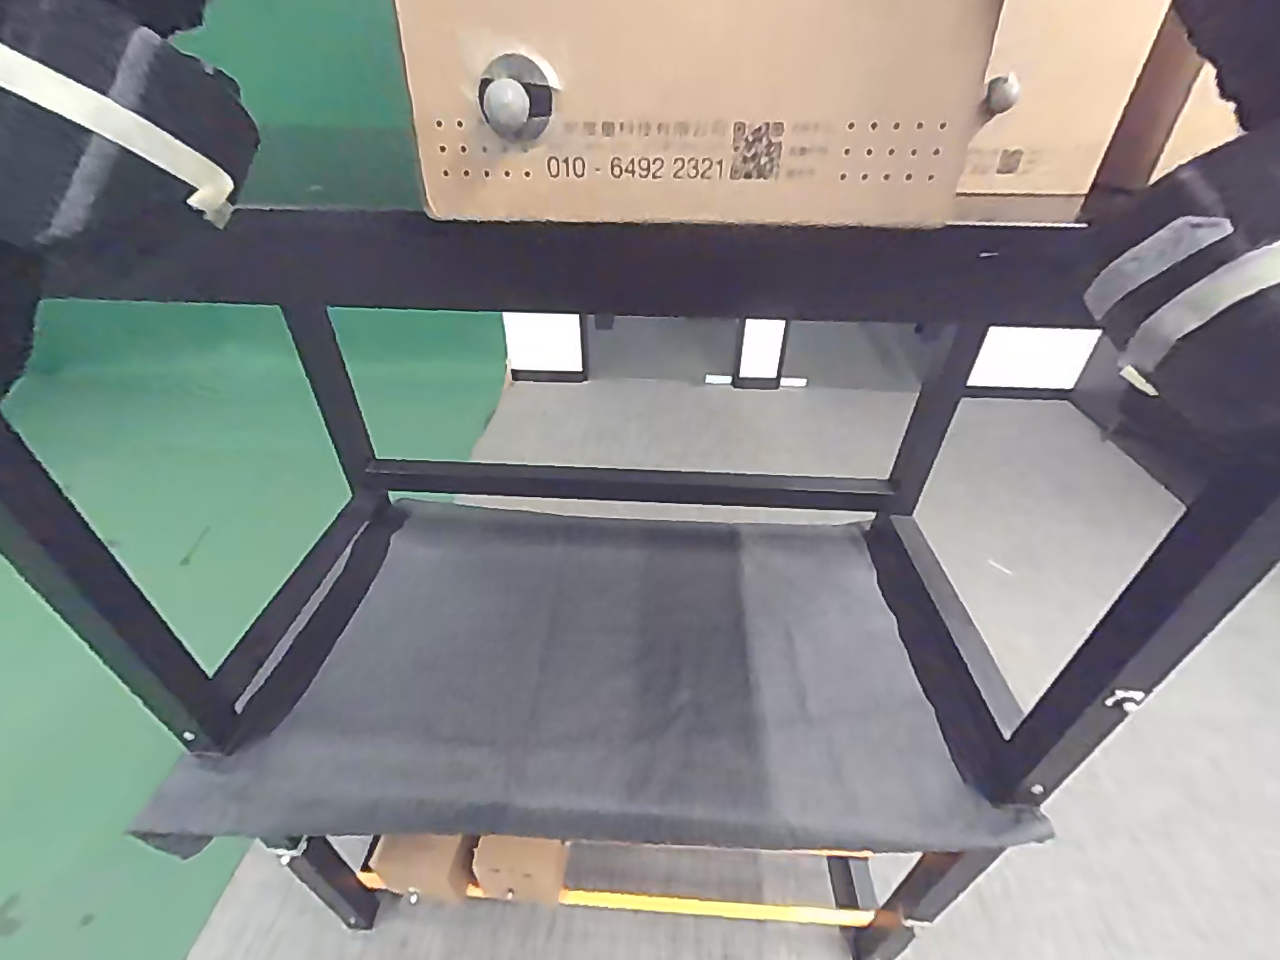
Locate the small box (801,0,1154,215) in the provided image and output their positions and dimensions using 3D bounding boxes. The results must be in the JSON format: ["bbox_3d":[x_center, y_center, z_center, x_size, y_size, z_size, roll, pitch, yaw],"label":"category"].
[{"bbox_3d":[0.232,-0.312,0.415,0.168,0.176,0.179,2,36,2],"label":"small box"}]
